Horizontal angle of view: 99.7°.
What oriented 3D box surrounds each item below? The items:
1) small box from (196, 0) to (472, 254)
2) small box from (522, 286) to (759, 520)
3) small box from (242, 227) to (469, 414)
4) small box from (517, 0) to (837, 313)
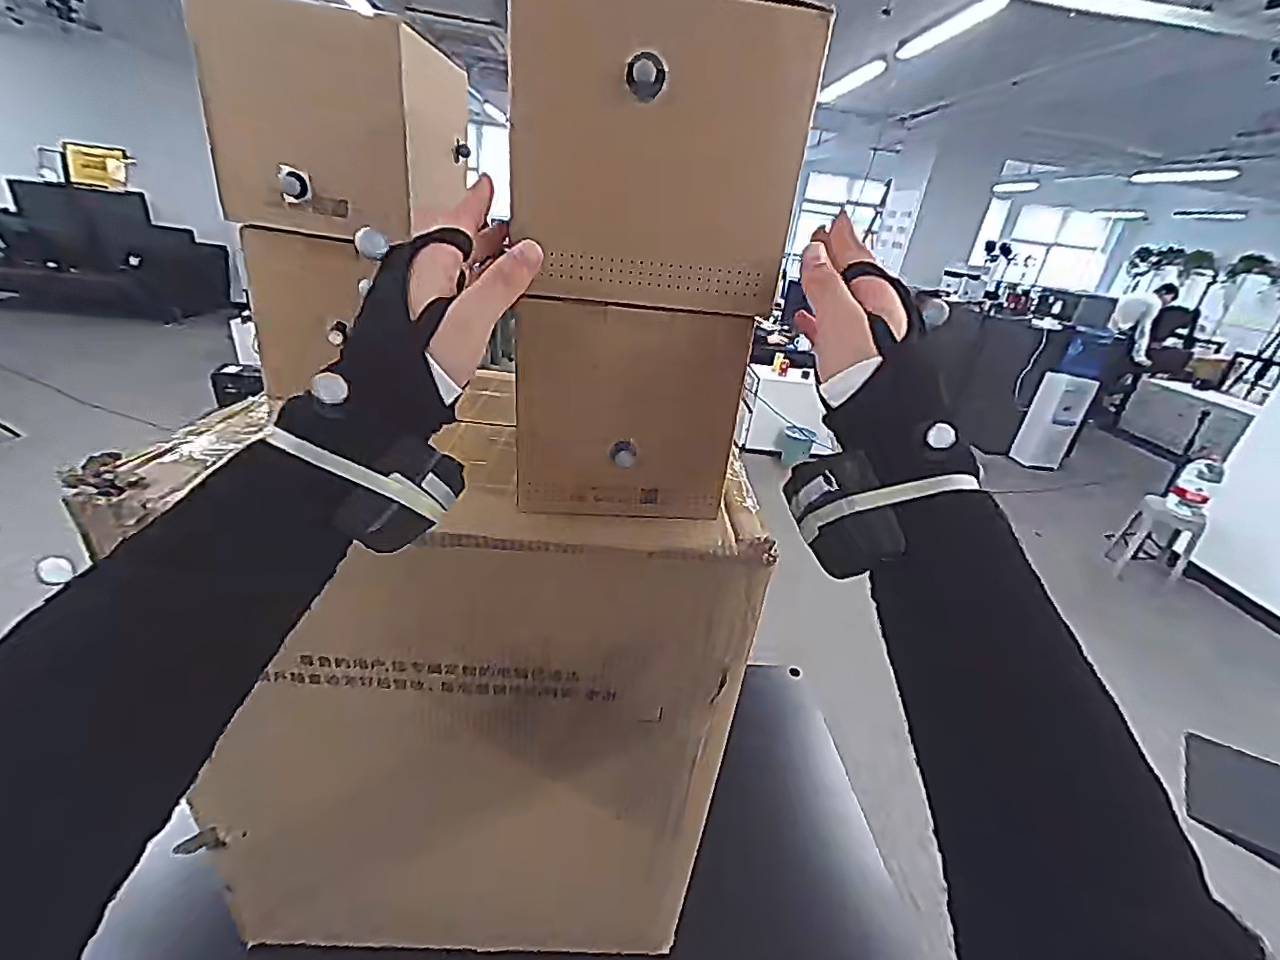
[{"bbox_3d":[-0.266,-0.321,0.516,0.168,0.176,0.179,6,27,-3],"label":"small box"},{"bbox_3d":[-0.012,-0.083,0.473,0.168,0.176,0.179,2,28,-6],"label":"small box"},{"bbox_3d":[-0.291,-0.183,0.602,0.168,0.176,0.179,6,27,-5],"label":"small box"},{"bbox_3d":[0.011,-0.222,0.389,0.179,0.176,0.168,5,28,-5],"label":"small box"}]
